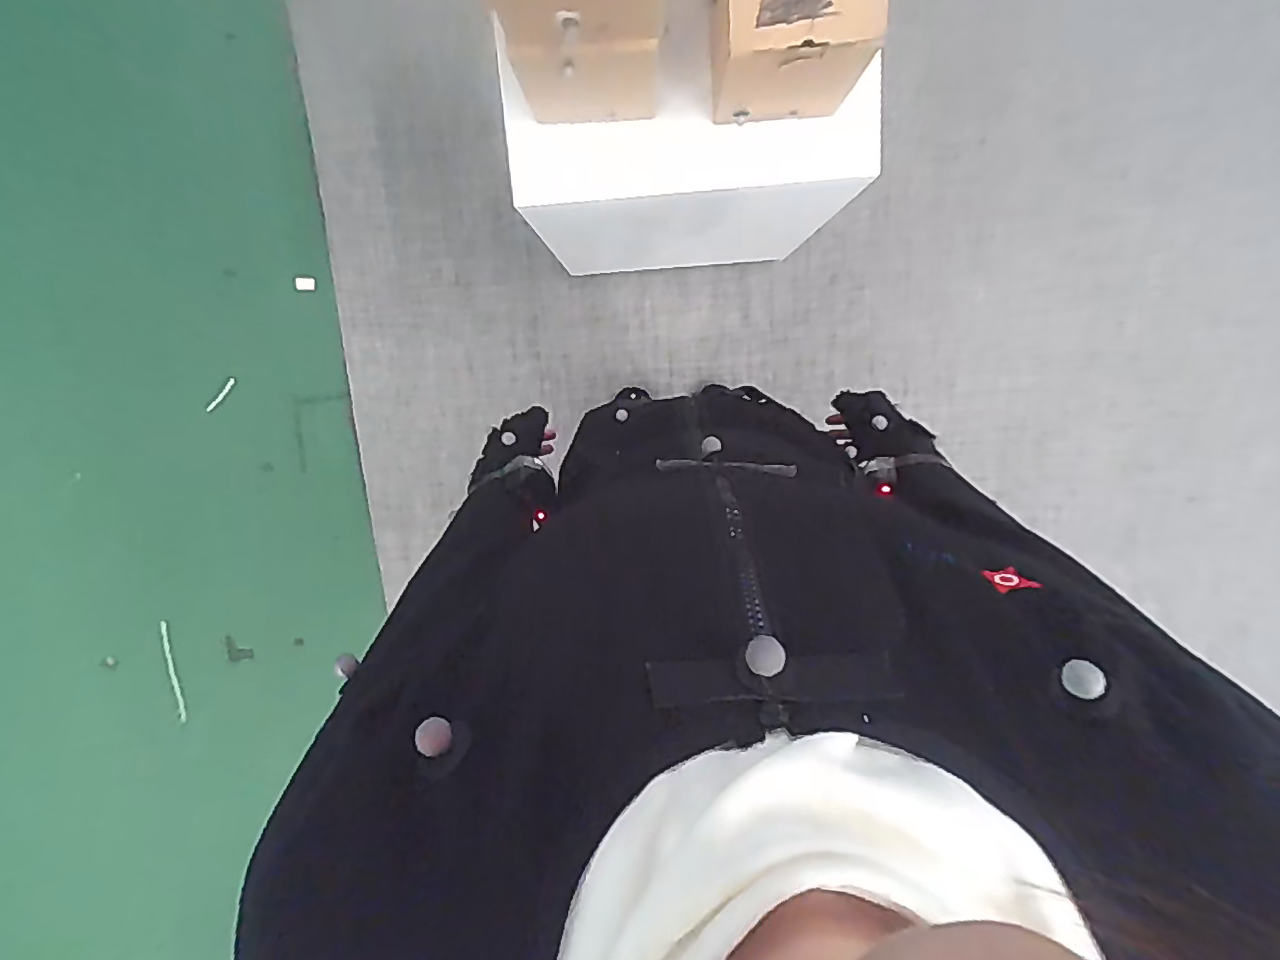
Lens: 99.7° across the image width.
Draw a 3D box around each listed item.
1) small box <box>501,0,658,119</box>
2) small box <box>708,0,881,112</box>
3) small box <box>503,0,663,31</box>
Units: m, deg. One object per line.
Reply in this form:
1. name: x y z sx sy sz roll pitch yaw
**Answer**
1. small box: -0.063 -0.563 0.638 0.168 0.176 0.179 -1 100 2
2. small box: 0.170 -0.561 0.633 0.168 0.176 0.179 -2 100 2
3. small box: -0.063 -0.537 0.462 0.168 0.176 0.179 -4 102 2
